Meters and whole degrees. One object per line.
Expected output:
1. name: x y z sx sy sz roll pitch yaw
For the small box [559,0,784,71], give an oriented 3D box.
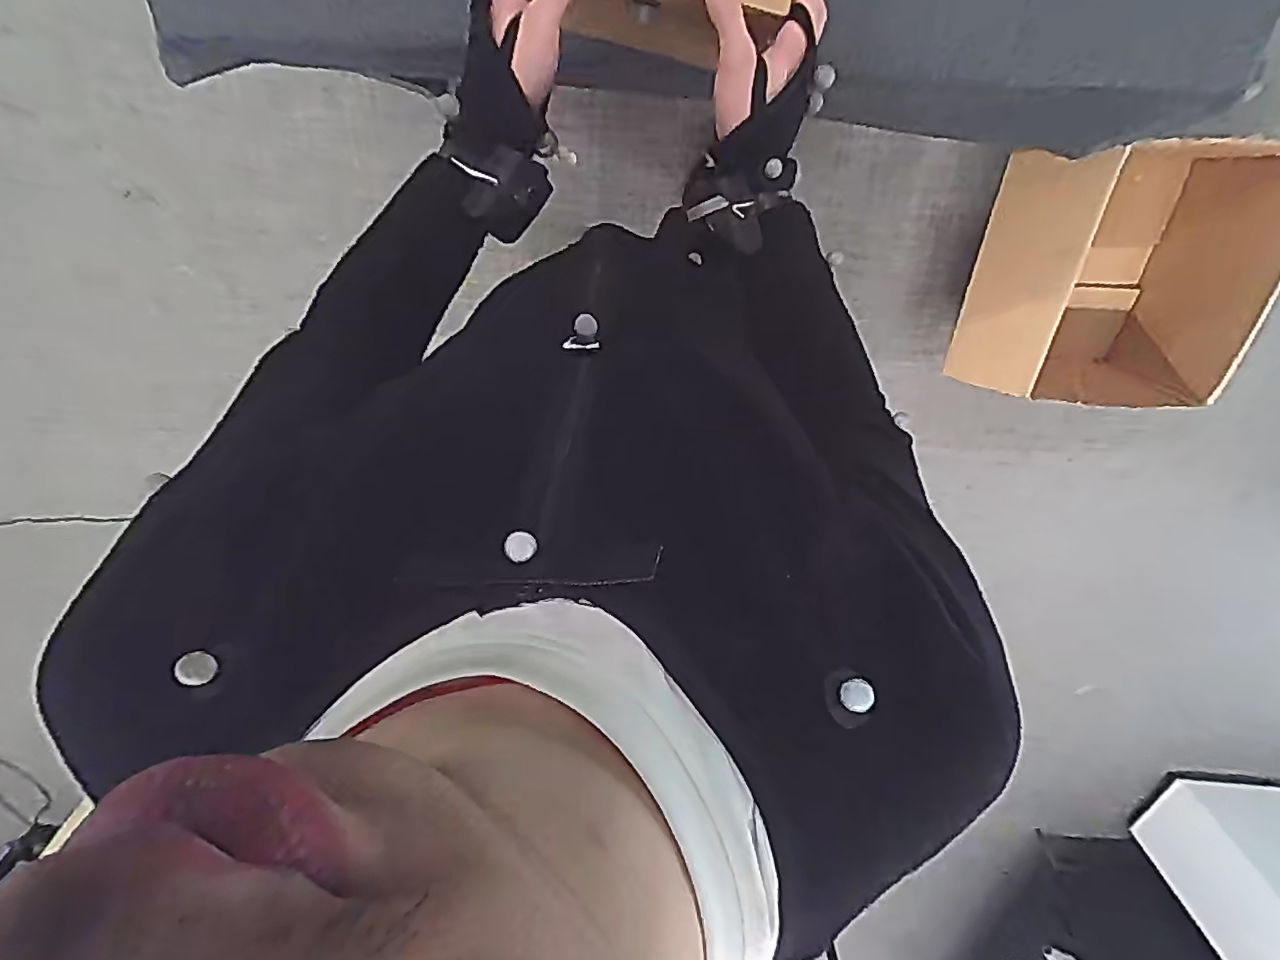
1. small box: 0.030 -0.441 0.405 0.179 0.176 0.168 13 116 -10
